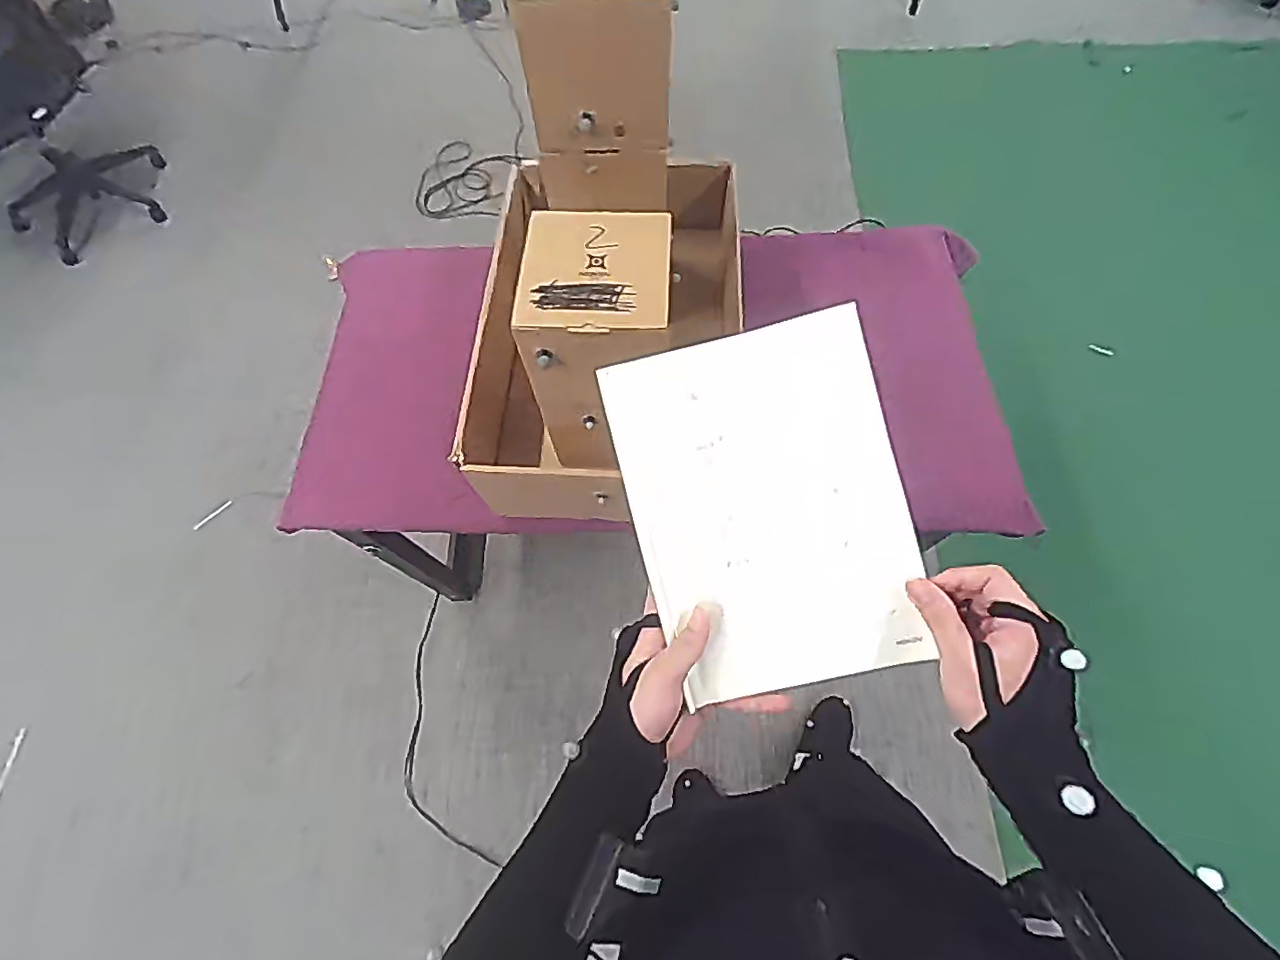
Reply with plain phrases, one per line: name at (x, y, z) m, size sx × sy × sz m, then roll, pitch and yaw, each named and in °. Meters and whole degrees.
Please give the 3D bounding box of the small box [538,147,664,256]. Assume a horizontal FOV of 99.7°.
small box at (-0.048, -0.452, 0.796) m, size 0.168 × 0.176 × 0.179 m, roll -1°, pitch 66°, yaw 1°

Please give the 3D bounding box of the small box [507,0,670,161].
small box at (-0.051, -0.517, 0.647) m, size 0.168 × 0.176 × 0.179 m, roll -1°, pitch 67°, yaw 2°

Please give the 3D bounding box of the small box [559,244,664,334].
small box at (-0.043, -0.379, 0.943) m, size 0.168 × 0.176 × 0.179 m, roll -1°, pitch 67°, yaw 1°
